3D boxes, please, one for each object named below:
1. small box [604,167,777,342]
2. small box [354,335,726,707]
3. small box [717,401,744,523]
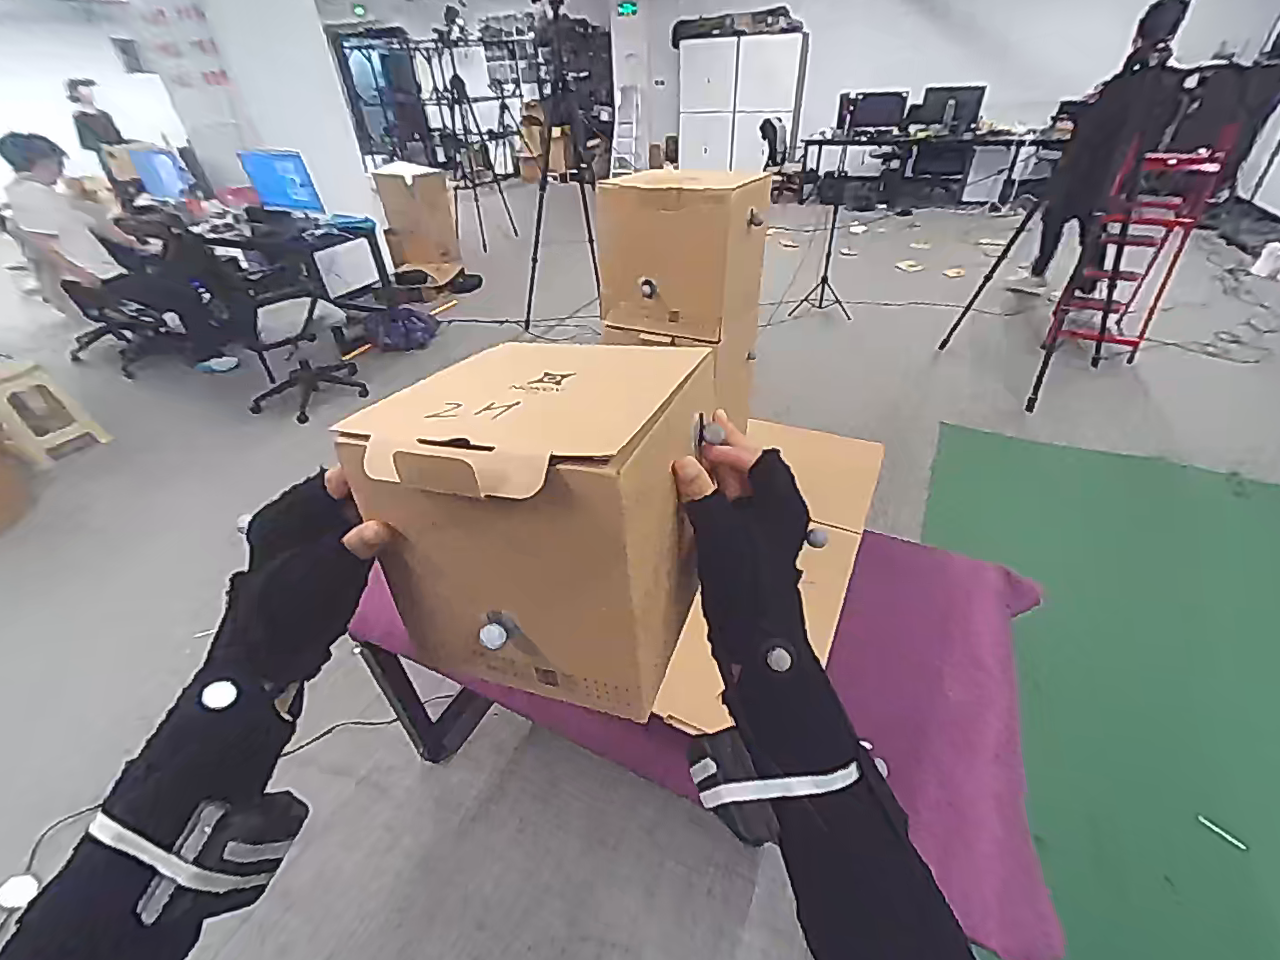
[{"bbox_3d":[0.064,-0.296,0.696,0.168,0.176,0.179,15,38,21],"label":"small box"},{"bbox_3d":[-0.043,0.012,0.364,0.168,0.176,0.179,7,33,19],"label":"small box"},{"bbox_3d":[0.063,-0.025,0.883,0.168,0.176,0.179,14,40,21],"label":"small box"}]
